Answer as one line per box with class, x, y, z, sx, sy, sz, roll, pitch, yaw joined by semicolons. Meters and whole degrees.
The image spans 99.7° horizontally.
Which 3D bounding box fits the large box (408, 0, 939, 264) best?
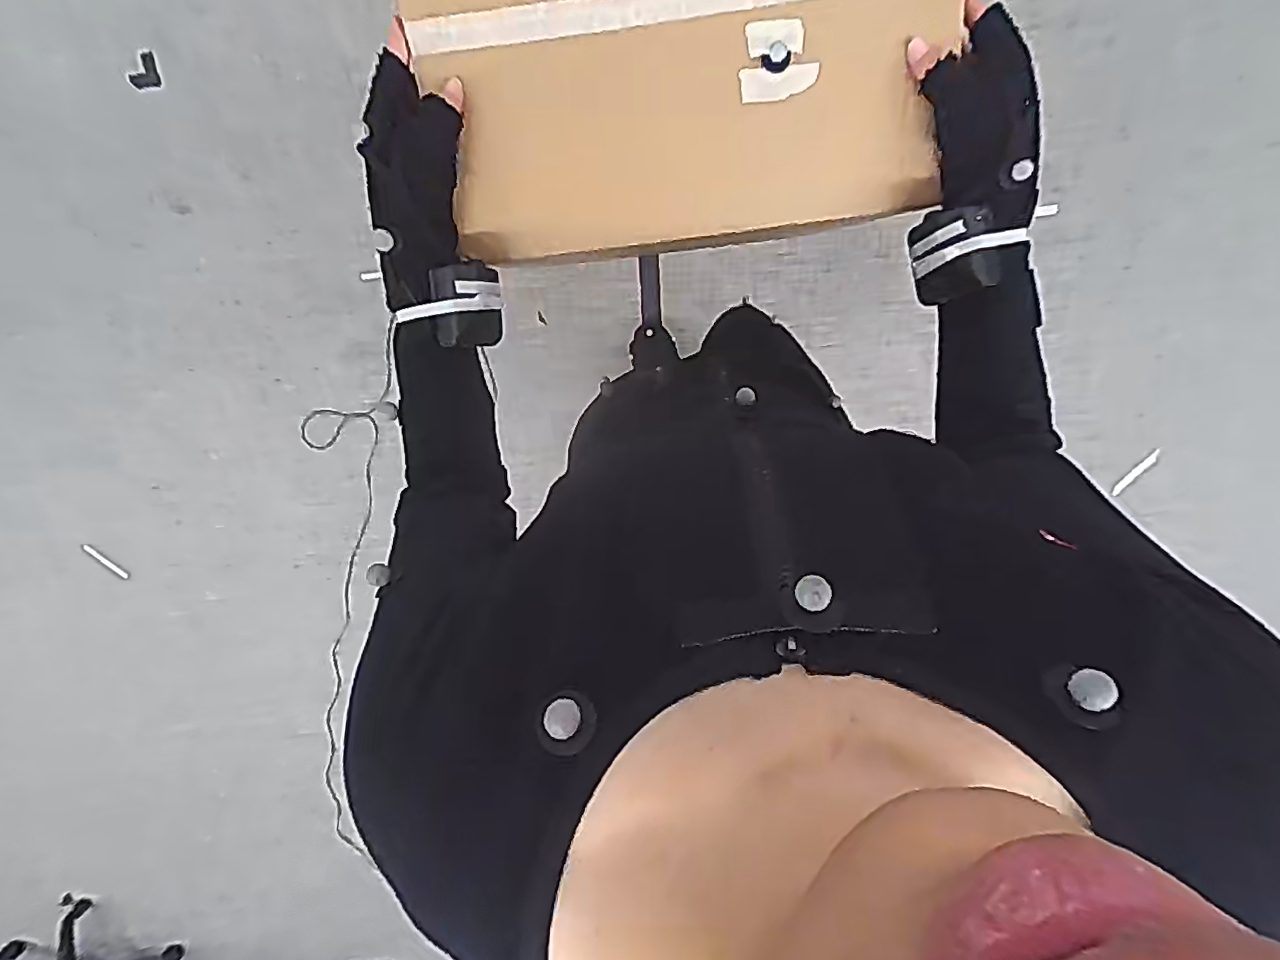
large box;0.022;-0.412;0.543;0.408;0.320;0.320;-7;111;2
